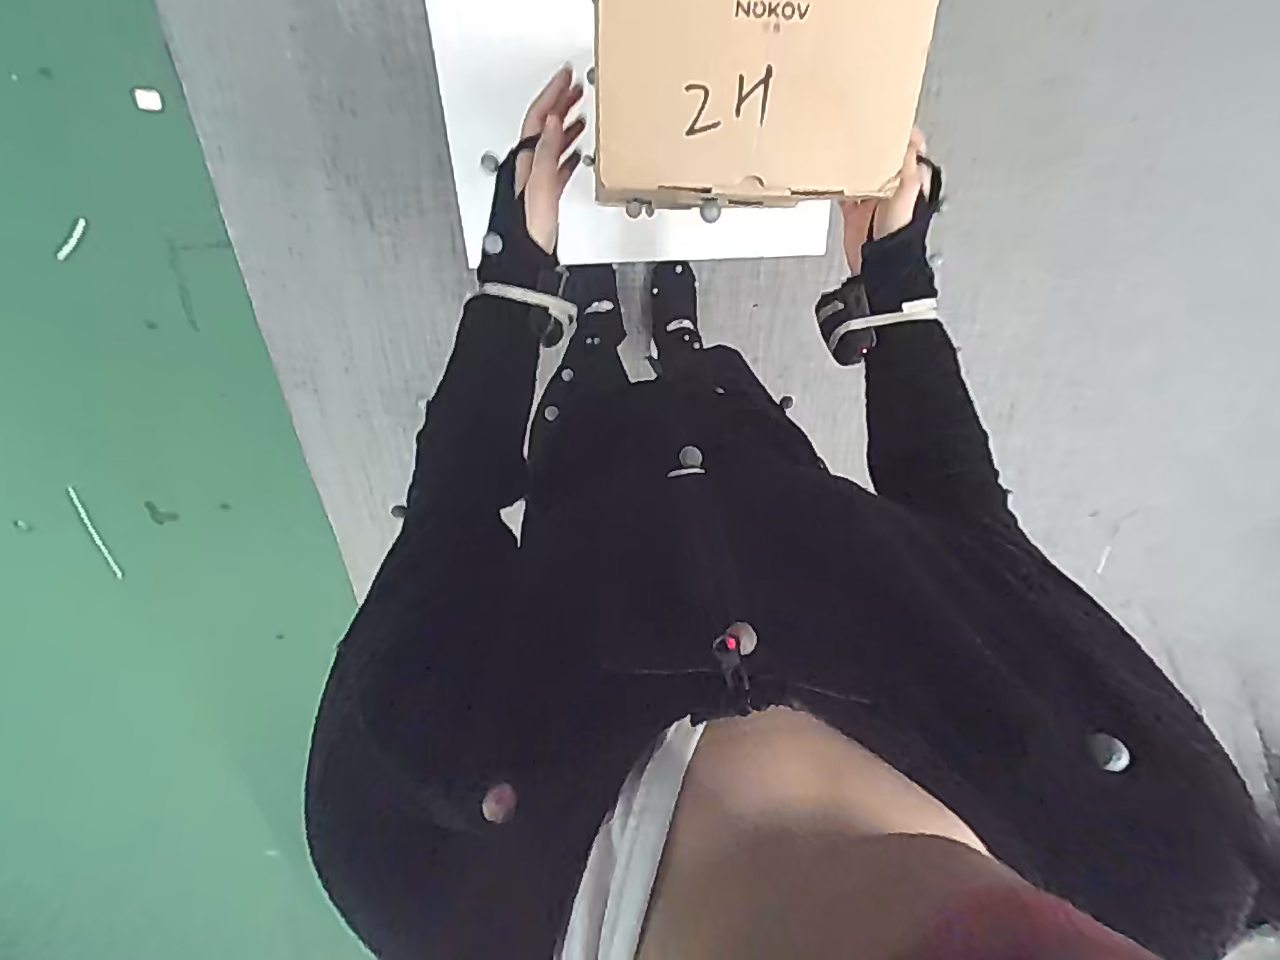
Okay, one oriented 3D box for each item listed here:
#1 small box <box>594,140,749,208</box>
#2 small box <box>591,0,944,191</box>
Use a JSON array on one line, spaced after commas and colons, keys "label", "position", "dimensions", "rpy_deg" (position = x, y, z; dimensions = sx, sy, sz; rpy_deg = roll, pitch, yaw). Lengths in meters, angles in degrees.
[{"label": "small box", "position": [0.032, -0.411, 0.611], "dimensions": [0.168, 0.176, 0.179], "rpy_deg": [0, 115, -4]}, {"label": "small box", "position": [0.055, -0.273, 0.313], "dimensions": [0.168, 0.176, 0.179], "rpy_deg": [-1, 116, -4]}]
